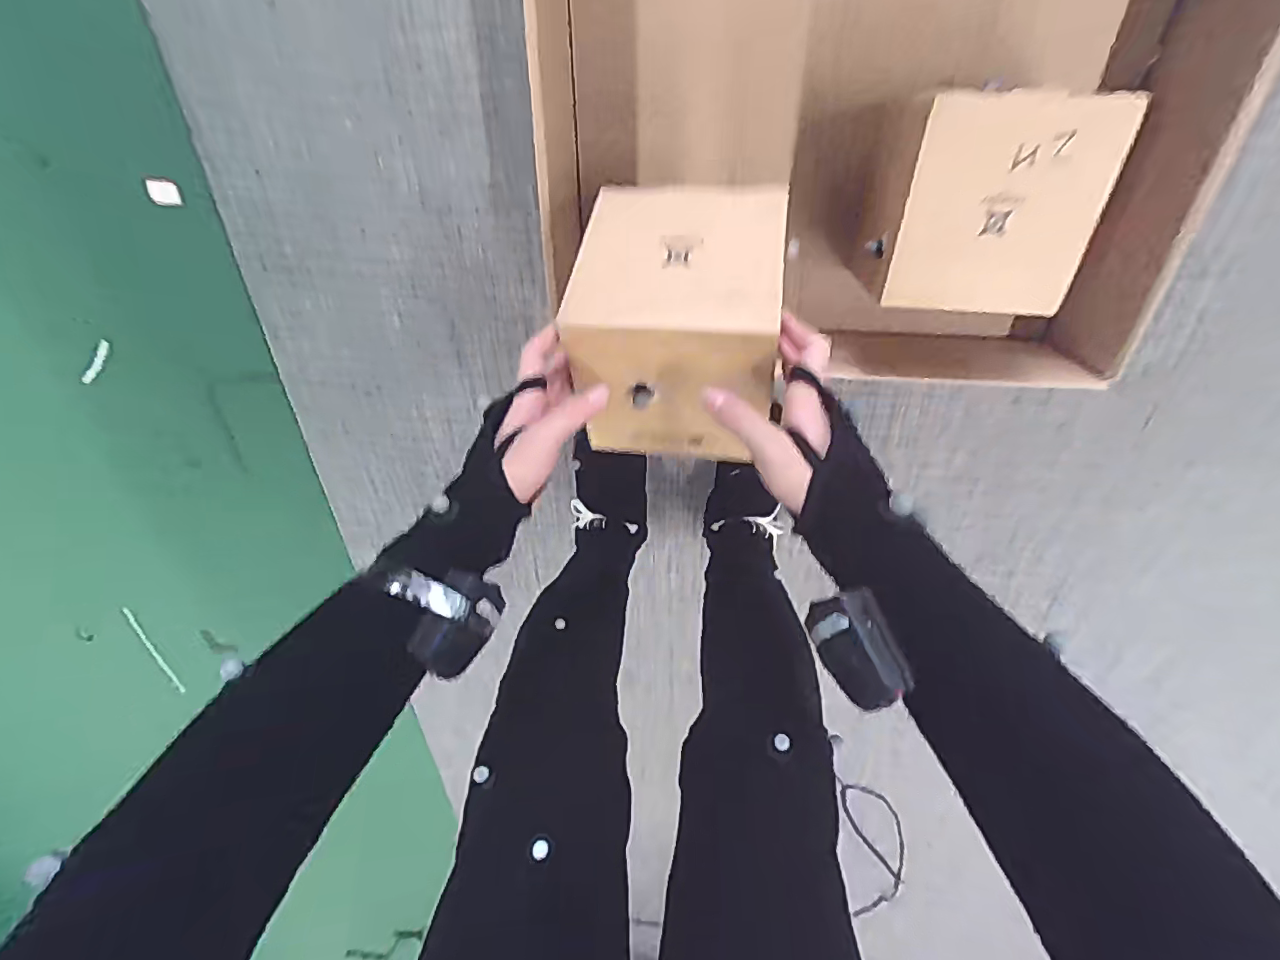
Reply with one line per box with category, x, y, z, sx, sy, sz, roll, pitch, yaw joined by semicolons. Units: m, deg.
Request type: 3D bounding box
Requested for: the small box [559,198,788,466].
small box;0.040;-0.130;0.495;0.168;0.179;0.176;5;146;9
